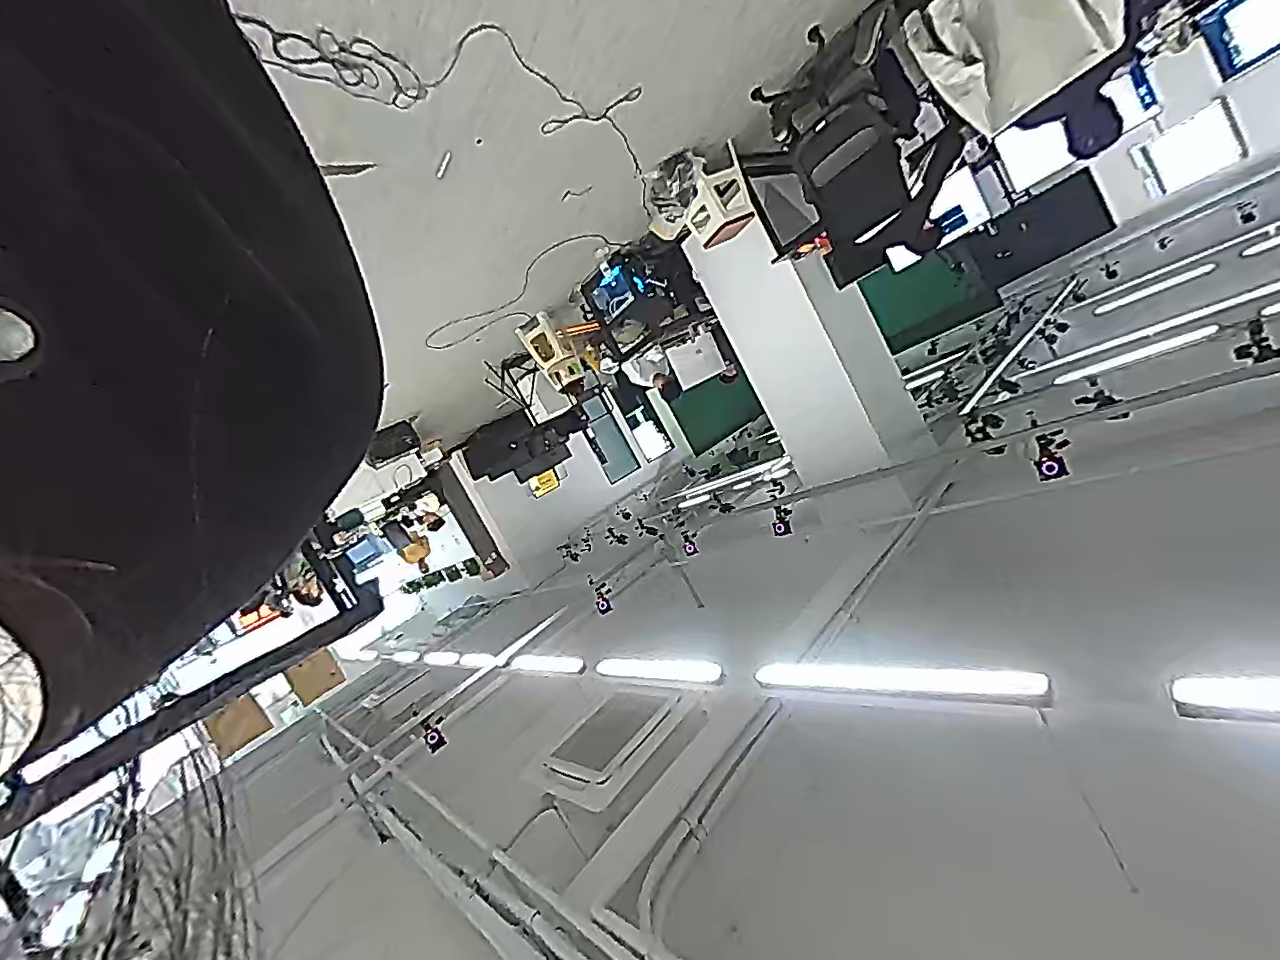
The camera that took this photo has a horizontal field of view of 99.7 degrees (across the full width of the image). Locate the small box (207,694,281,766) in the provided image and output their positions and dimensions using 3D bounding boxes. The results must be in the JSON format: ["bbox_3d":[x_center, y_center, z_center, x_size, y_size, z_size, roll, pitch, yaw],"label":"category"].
[{"bbox_3d":[-1.453,0.908,1.982,0.168,0.176,0.179,-32,-173,-40],"label":"small box"}]
